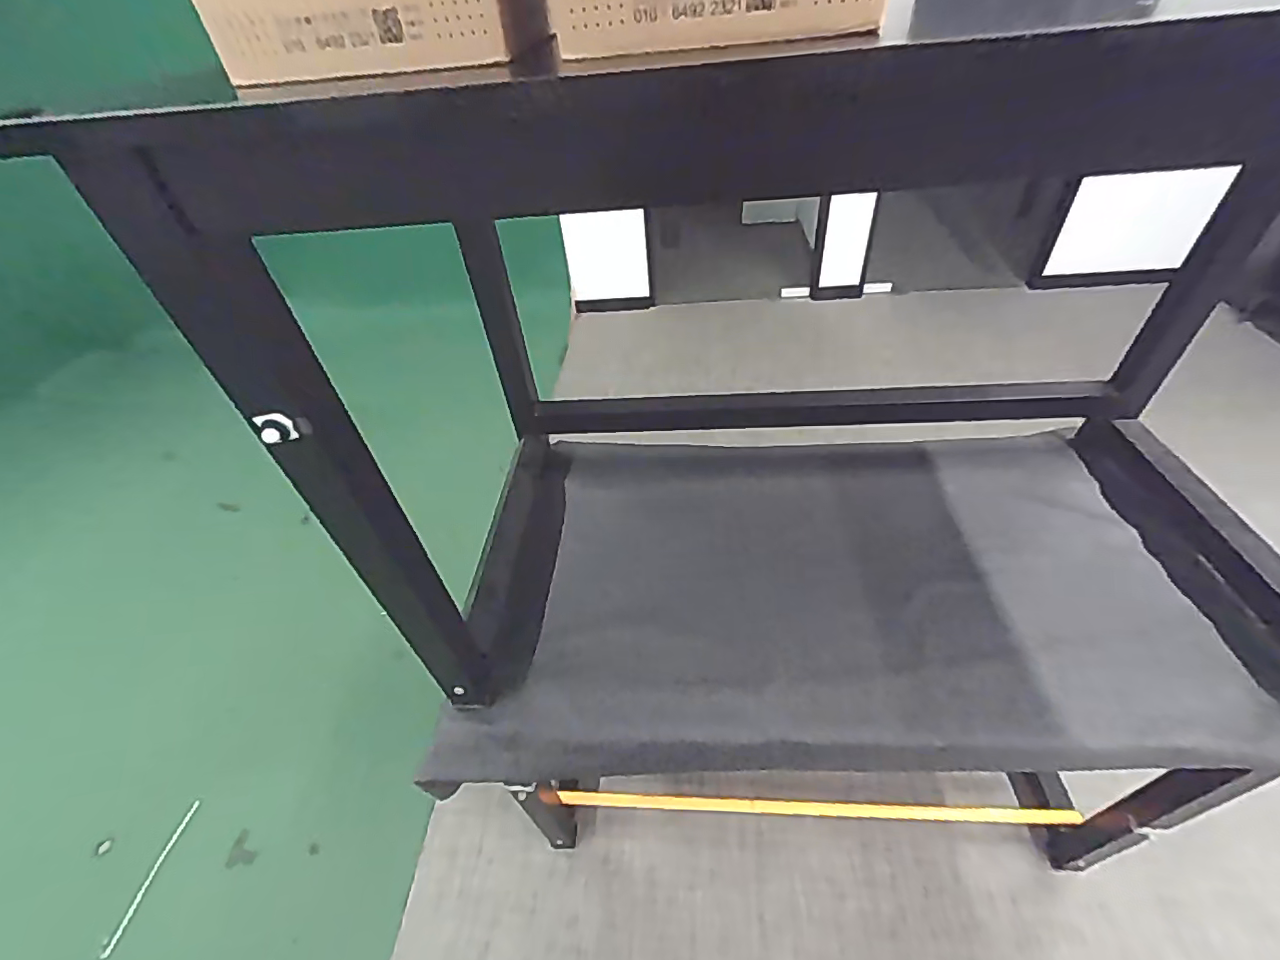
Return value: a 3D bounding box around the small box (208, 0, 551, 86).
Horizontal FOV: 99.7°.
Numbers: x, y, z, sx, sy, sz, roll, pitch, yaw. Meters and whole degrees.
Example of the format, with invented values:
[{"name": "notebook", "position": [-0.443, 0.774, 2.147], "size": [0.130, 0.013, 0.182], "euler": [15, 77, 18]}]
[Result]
[{"name": "small box", "position": [-0.157, -0.346, 0.318], "size": [0.168, 0.176, 0.179], "euler": [0, 43, 5]}]
